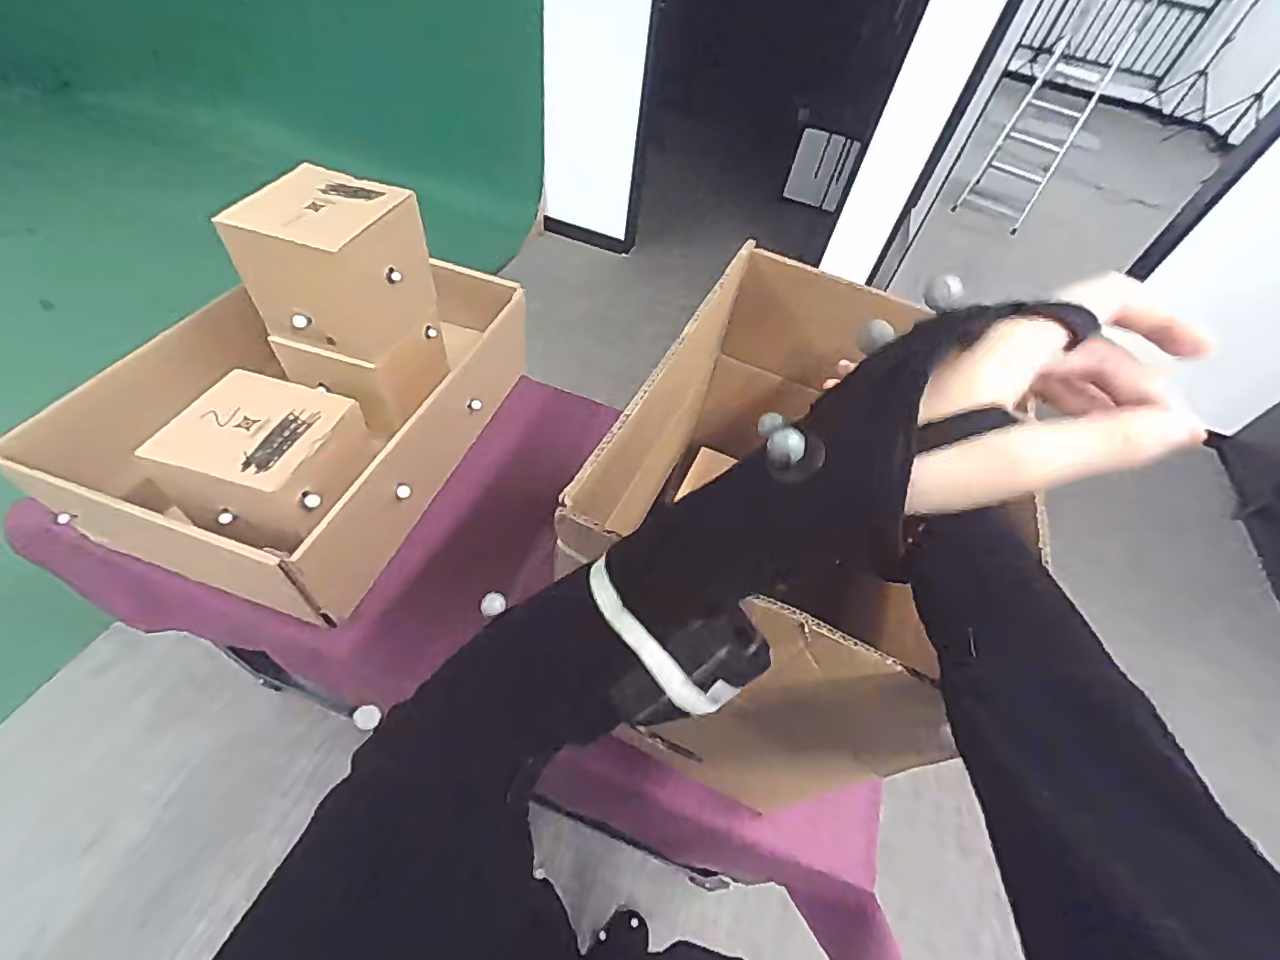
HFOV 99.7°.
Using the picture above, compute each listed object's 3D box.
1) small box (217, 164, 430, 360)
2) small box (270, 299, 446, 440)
[{"bbox_3d":[-0.412,-0.298,0.747,0.168,0.176,0.179,16,53,5],"label":"small box"},{"bbox_3d":[-0.433,-0.191,0.871,0.168,0.176,0.179,16,51,5],"label":"small box"}]
